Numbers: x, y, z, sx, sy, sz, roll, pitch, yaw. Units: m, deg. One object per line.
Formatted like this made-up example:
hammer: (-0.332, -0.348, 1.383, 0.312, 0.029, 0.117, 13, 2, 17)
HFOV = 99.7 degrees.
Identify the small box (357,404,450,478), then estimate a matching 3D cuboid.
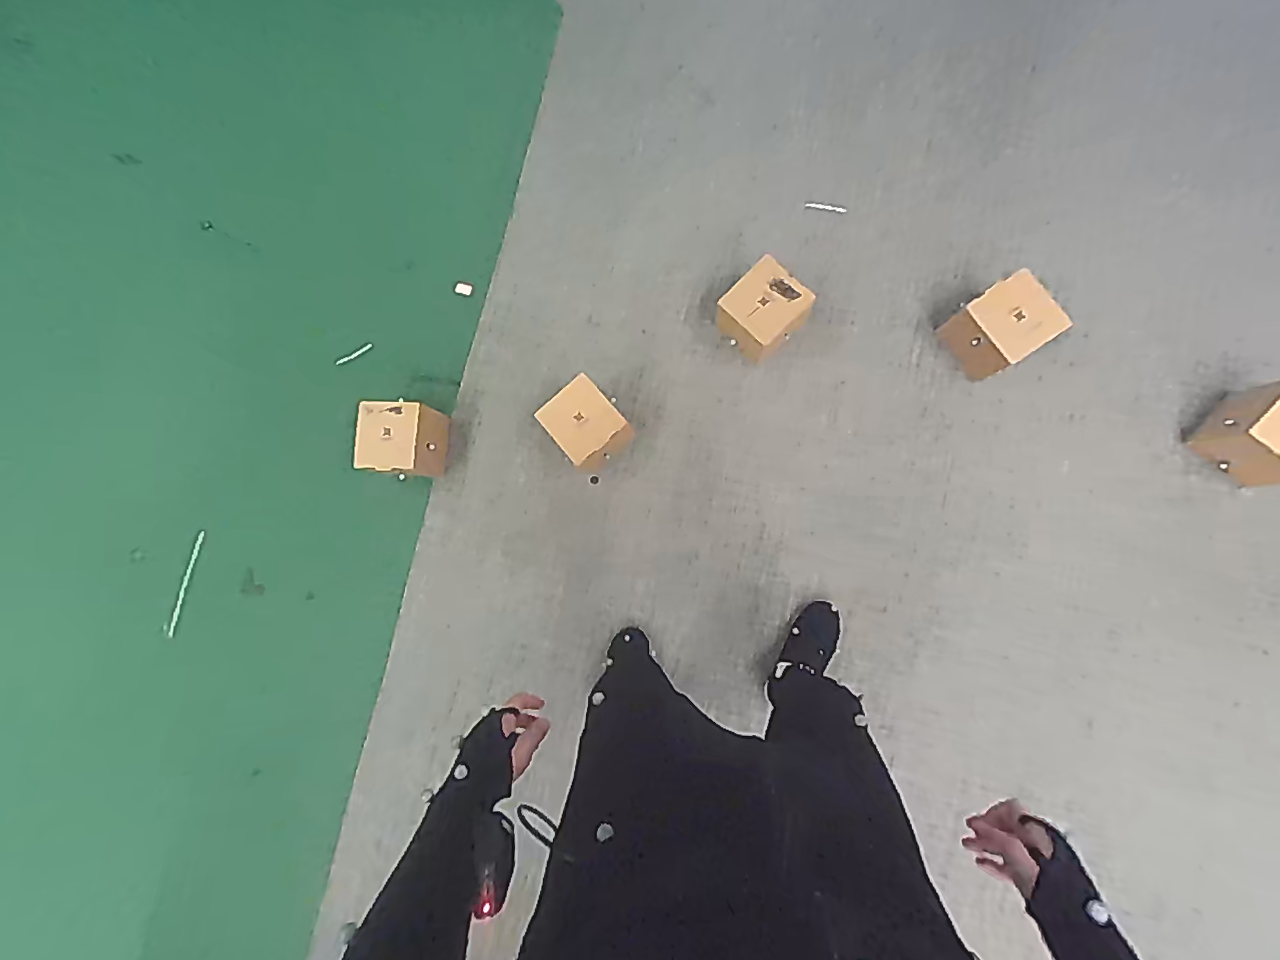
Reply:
small box: (-0.629, -0.100, 1.454, 0.168, 0.176, 0.179, 2, 84, 6)

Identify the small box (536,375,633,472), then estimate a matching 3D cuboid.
small box: (-0.137, -0.137, 1.407, 0.168, 0.176, 0.179, -41, 83, 0)

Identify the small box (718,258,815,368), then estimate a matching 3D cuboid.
small box: (0.314, -0.421, 1.387, 0.179, 0.176, 0.168, -44, 81, 1)
